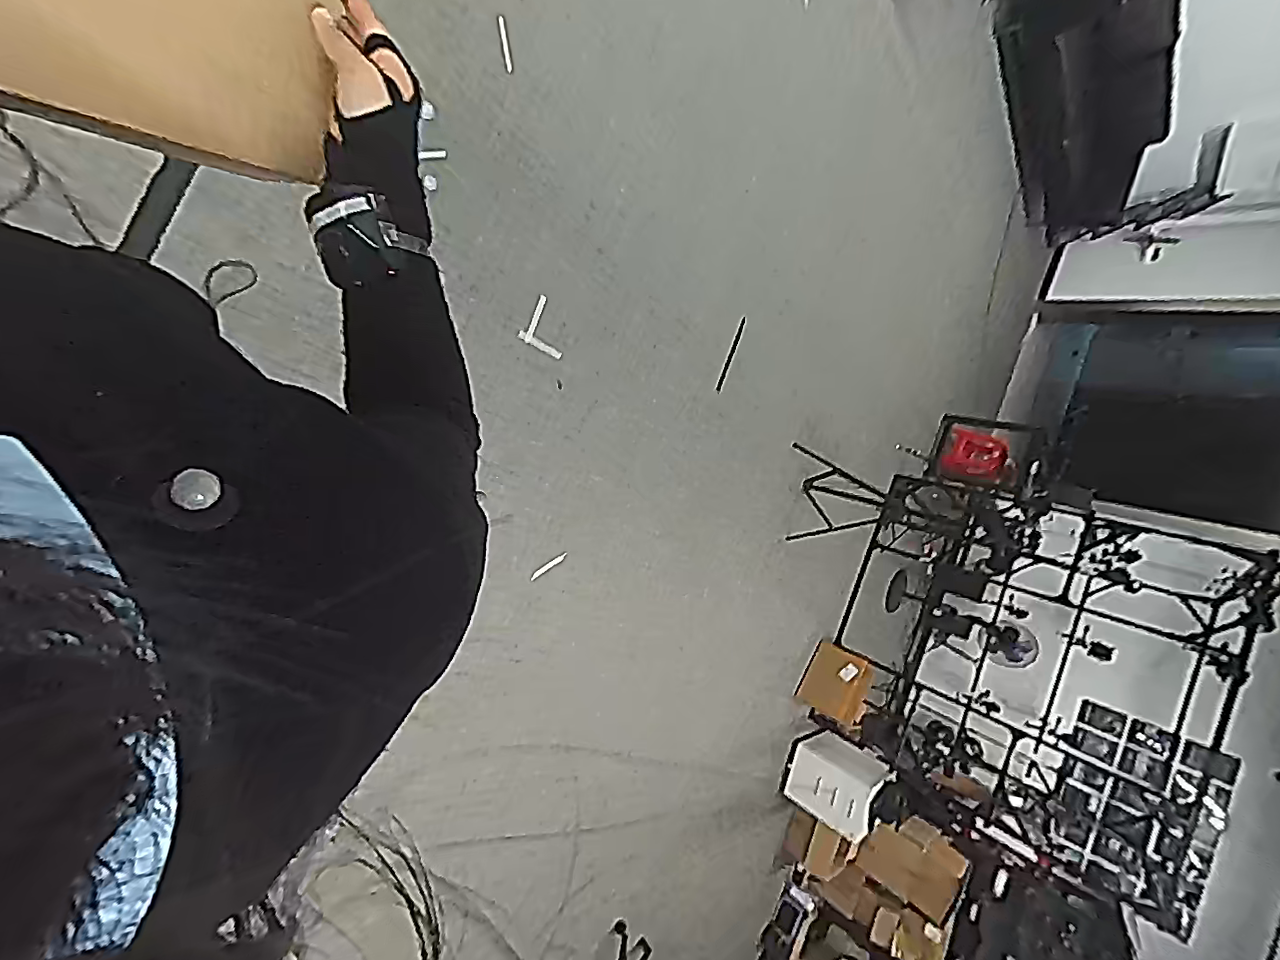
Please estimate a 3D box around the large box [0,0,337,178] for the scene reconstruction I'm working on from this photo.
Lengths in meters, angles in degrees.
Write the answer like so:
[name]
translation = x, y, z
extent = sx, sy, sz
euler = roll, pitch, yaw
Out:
[large box]
translation = -0.471, -0.446, 0.383
extent = 0.408, 0.320, 0.320
euler = -2, 114, -43
